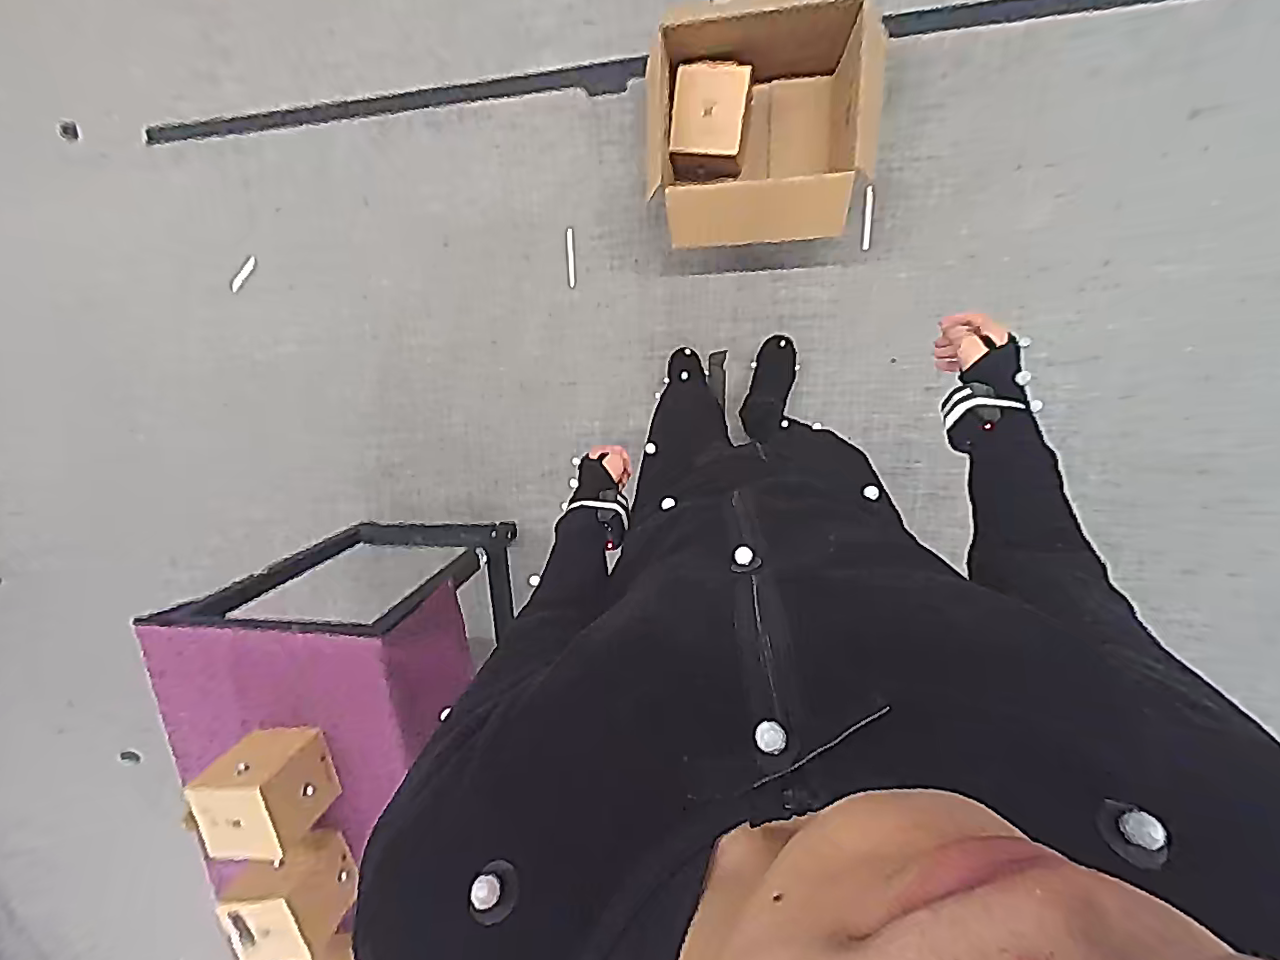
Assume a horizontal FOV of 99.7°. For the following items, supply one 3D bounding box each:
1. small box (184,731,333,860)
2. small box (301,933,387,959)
[{"bbox_3d":[-0.771,0.644,1.119,0.179,0.176,0.168,-6,103,11],"label":"small box"},{"bbox_3d":[-0.711,1.198,1.253,0.179,0.176,0.168,-14,102,12],"label":"small box"}]
